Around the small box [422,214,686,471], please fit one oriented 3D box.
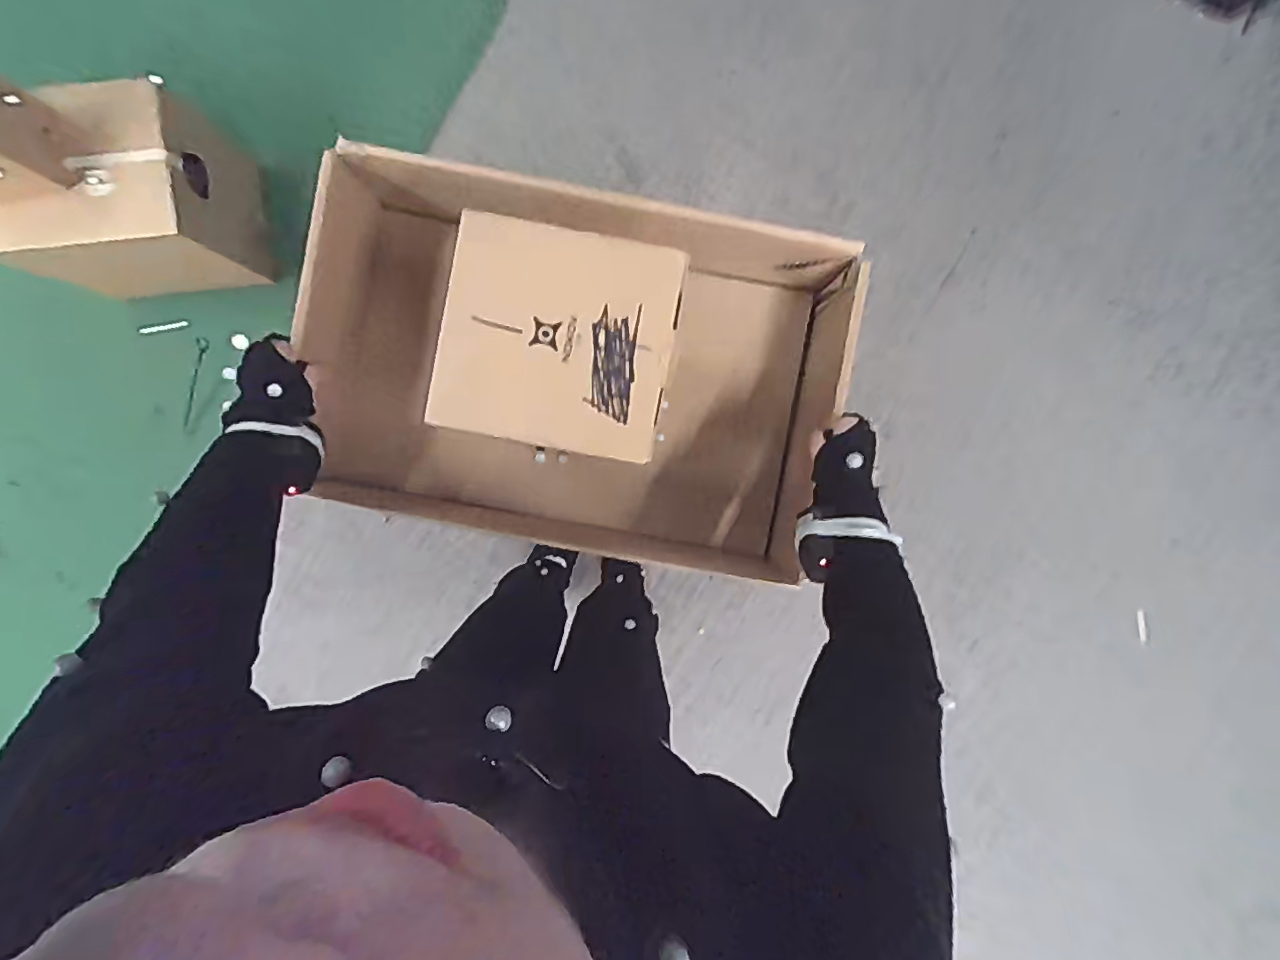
[{"bbox_3d":[-0.066,-0.106,0.486,0.179,0.176,0.168,11,91,0],"label":"small box"}]
